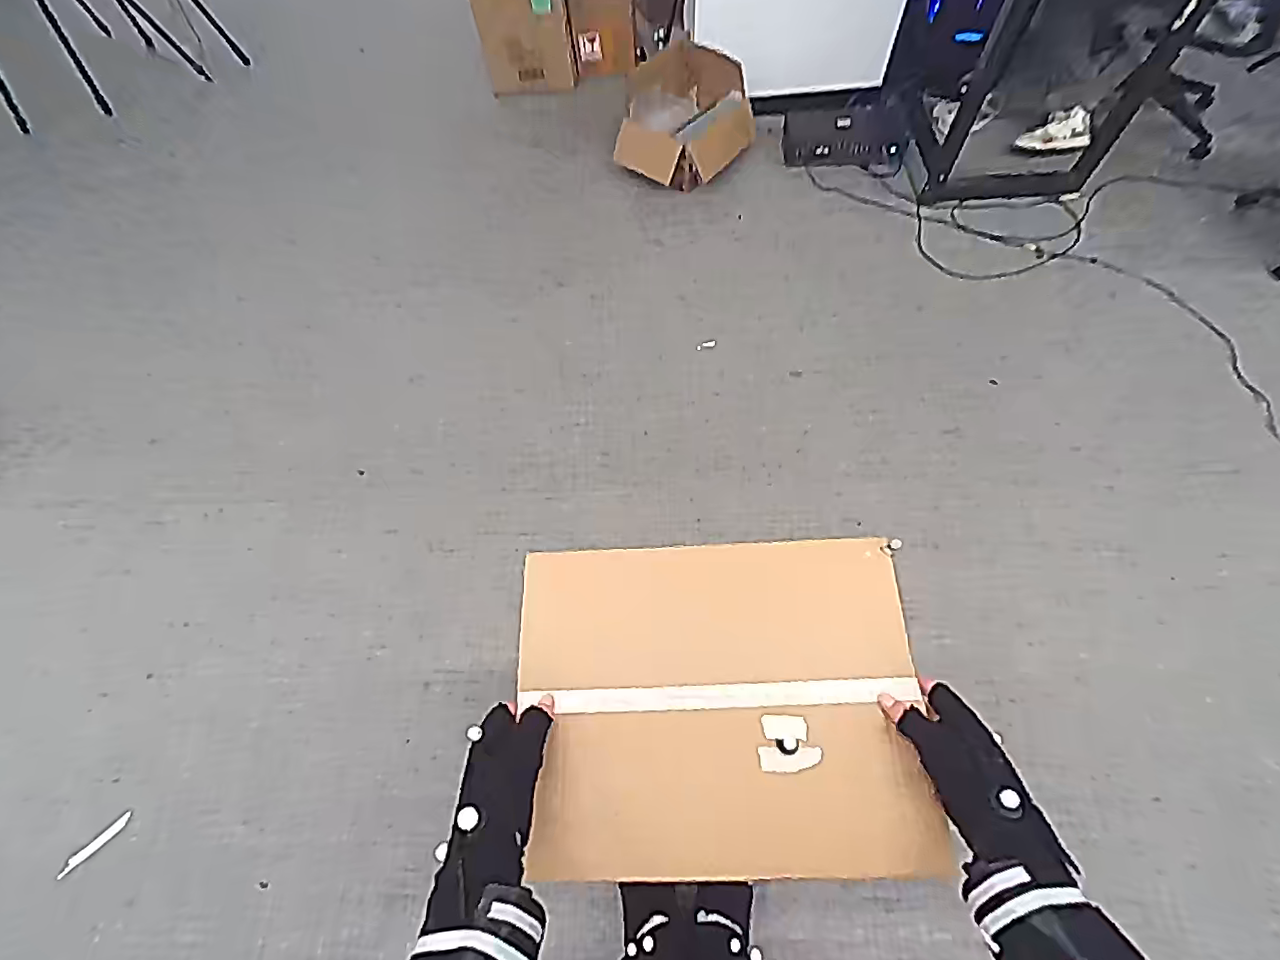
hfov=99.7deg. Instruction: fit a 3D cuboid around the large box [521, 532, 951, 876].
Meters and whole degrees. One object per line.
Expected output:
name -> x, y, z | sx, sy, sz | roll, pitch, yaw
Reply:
large box -> 0.086, 0.269, 0.688 | 0.408, 0.320, 0.320 | -3, 68, 3
